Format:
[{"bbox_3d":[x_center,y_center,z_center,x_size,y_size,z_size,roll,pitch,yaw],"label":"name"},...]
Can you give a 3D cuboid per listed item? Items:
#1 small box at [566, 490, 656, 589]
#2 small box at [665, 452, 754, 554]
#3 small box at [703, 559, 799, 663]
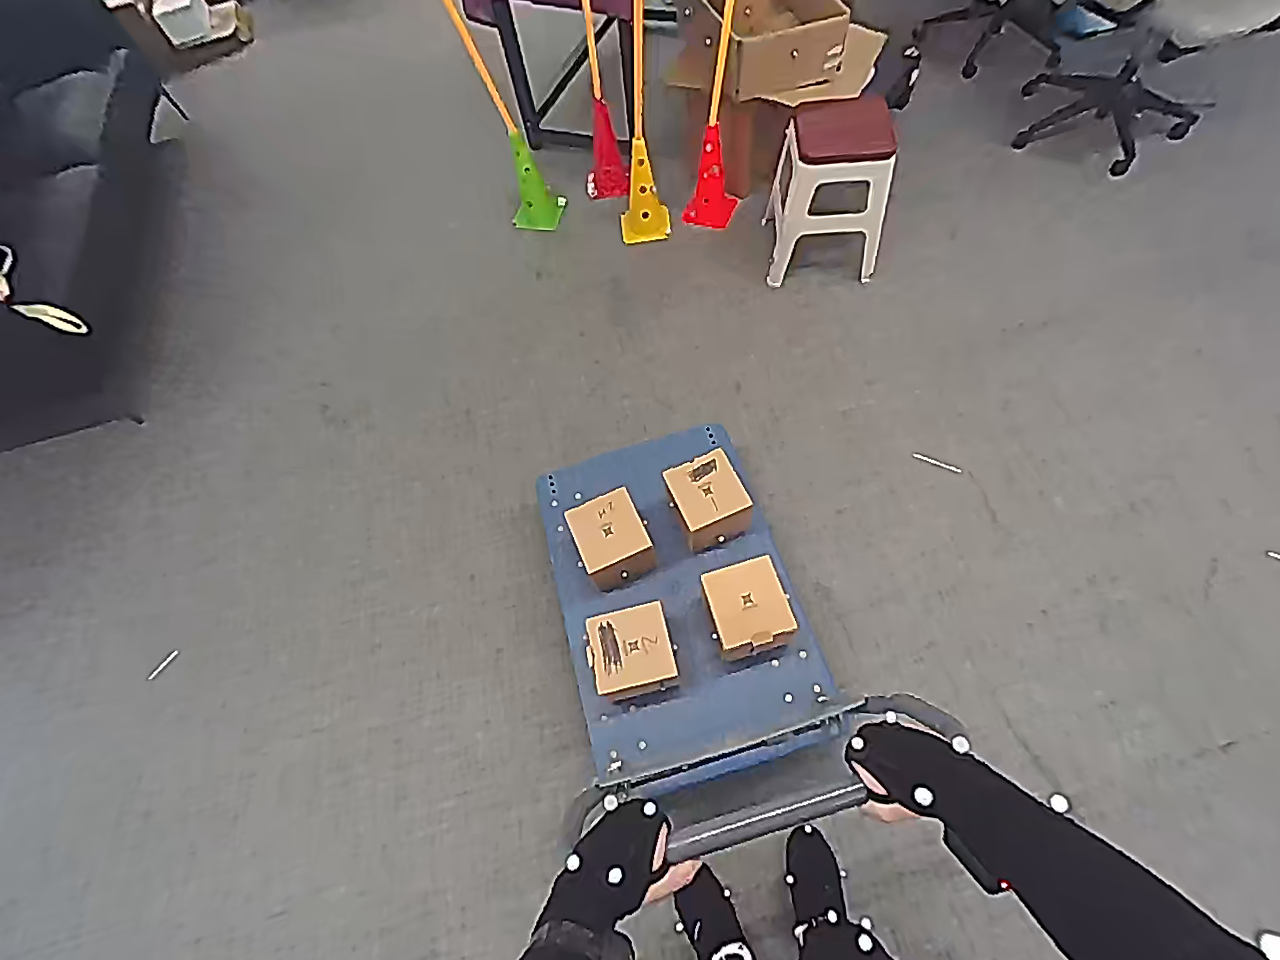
[{"bbox_3d":[-0.067,0.159,1.364,0.168,0.176,0.179,-23,63,-6],"label":"small box"},{"bbox_3d":[0.173,0.064,1.385,0.168,0.176,0.179,-23,64,-4],"label":"small box"},{"bbox_3d":[0.247,0.308,1.256,0.168,0.176,0.179,-16,64,-2],"label":"small box"}]
